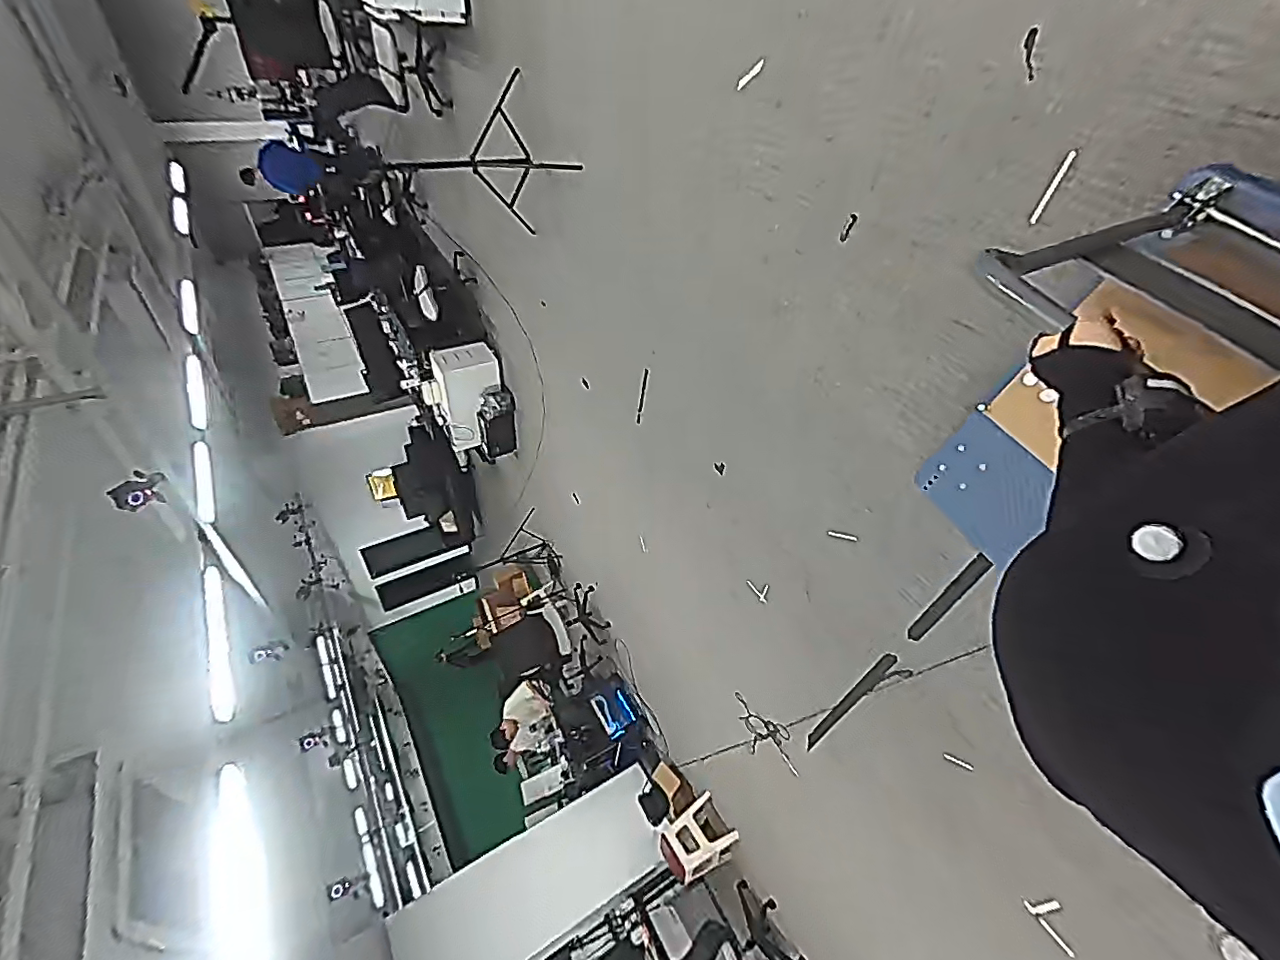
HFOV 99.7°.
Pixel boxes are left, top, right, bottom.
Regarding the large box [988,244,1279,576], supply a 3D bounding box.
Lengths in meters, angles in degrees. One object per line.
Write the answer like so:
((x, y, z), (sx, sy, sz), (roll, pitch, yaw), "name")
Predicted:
((0.916, -0.126, 0.886), (0.408, 0.320, 0.320), (56, 152, 28), "large box")
